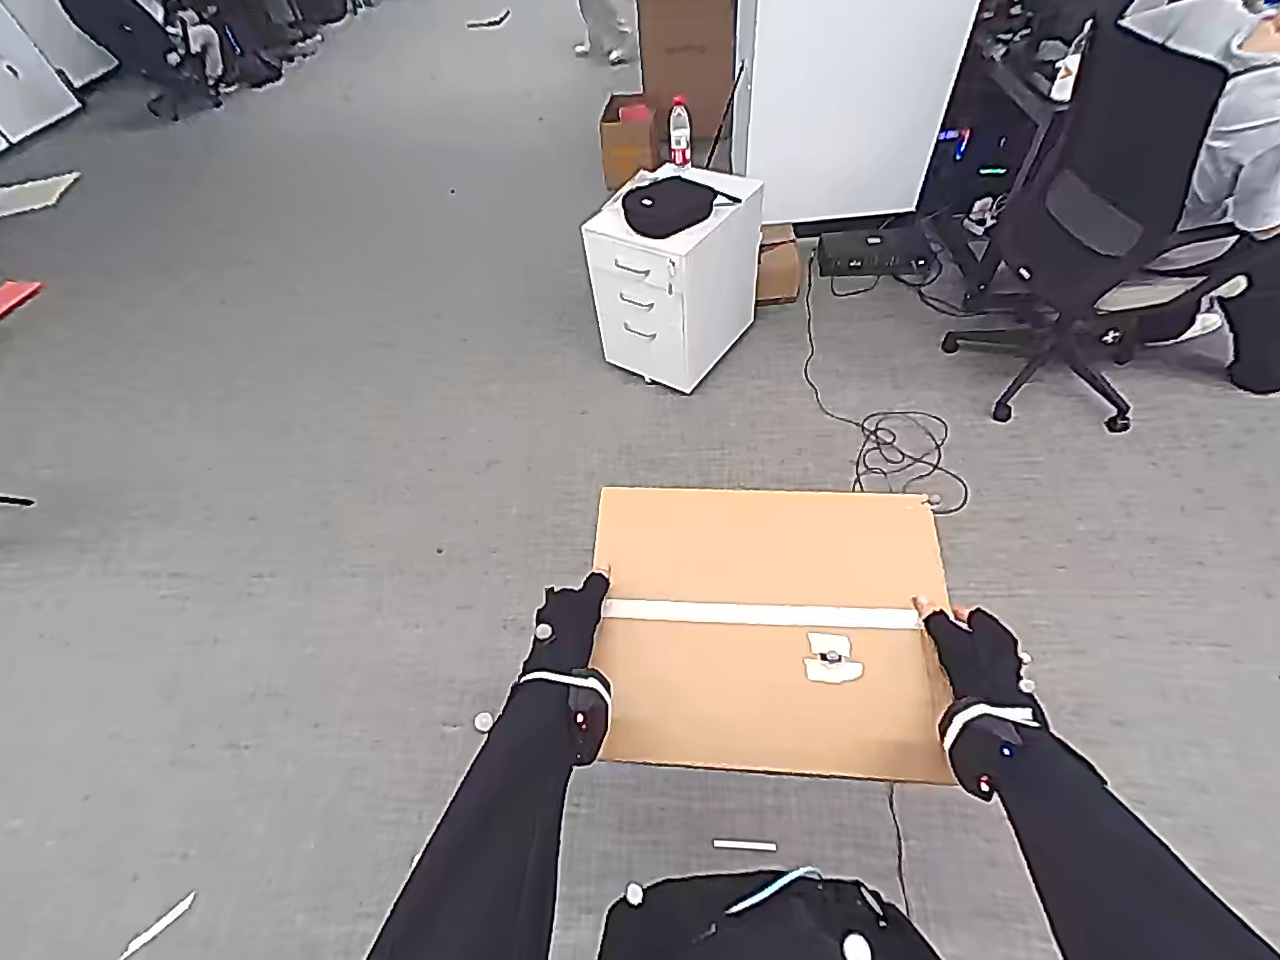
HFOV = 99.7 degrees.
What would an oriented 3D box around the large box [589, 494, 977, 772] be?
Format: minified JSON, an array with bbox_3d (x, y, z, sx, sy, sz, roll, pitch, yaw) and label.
[{"bbox_3d":[0.157,0.224,0.755,0.408,0.320,0.320,1,63,5],"label":"large box"}]
